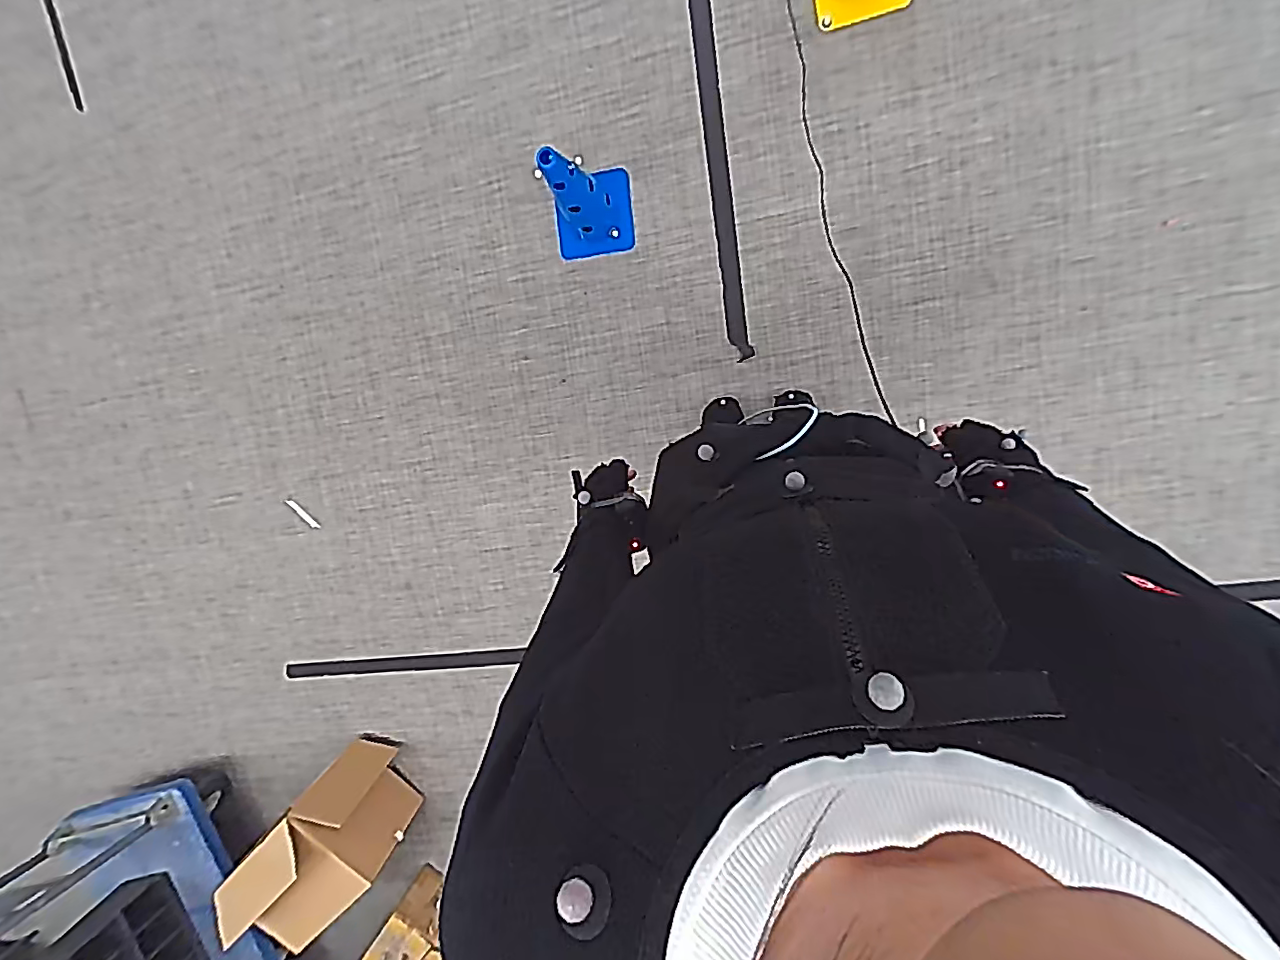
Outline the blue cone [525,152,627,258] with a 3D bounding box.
[{"bbox_3d":[-0.162,-0.653,1.229,0.192,0.380,0.193,-3,98,12],"label":"blue cone"}]
